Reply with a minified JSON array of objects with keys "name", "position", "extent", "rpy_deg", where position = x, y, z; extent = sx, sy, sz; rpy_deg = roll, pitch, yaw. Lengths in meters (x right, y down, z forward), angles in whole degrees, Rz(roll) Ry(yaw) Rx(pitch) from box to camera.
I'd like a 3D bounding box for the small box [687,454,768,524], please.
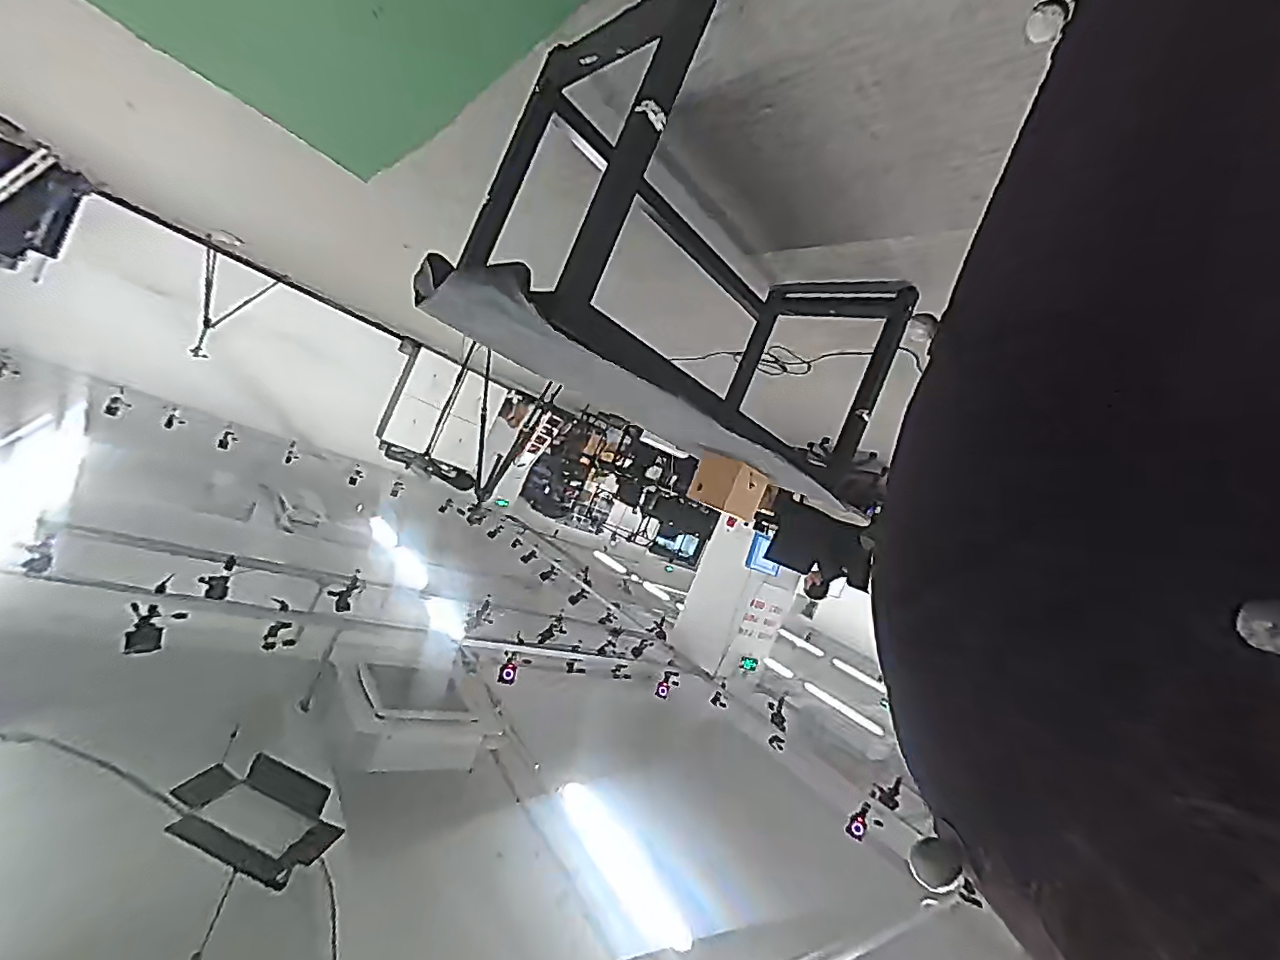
[{"name":"small box","position":[0.297,0.025,1.812],"extent":[0.168,0.176,0.179],"rpy_deg":[24,178,-41]}]
